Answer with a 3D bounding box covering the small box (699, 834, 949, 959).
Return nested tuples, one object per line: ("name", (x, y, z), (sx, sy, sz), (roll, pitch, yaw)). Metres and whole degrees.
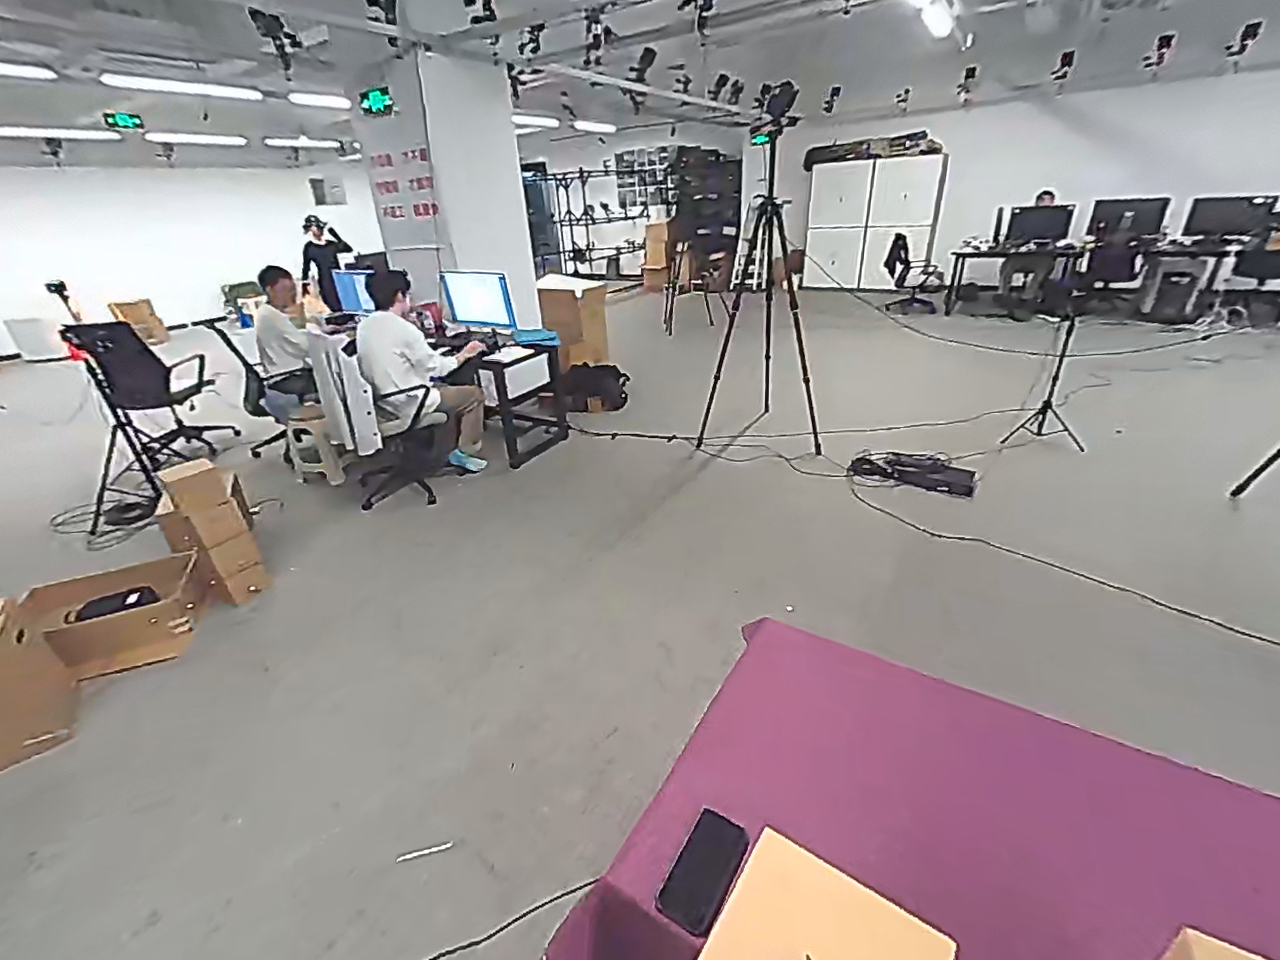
("small box", (0.147, 0.466, 0.462), (0.168, 0.176, 0.179), (12, 40, 36))
